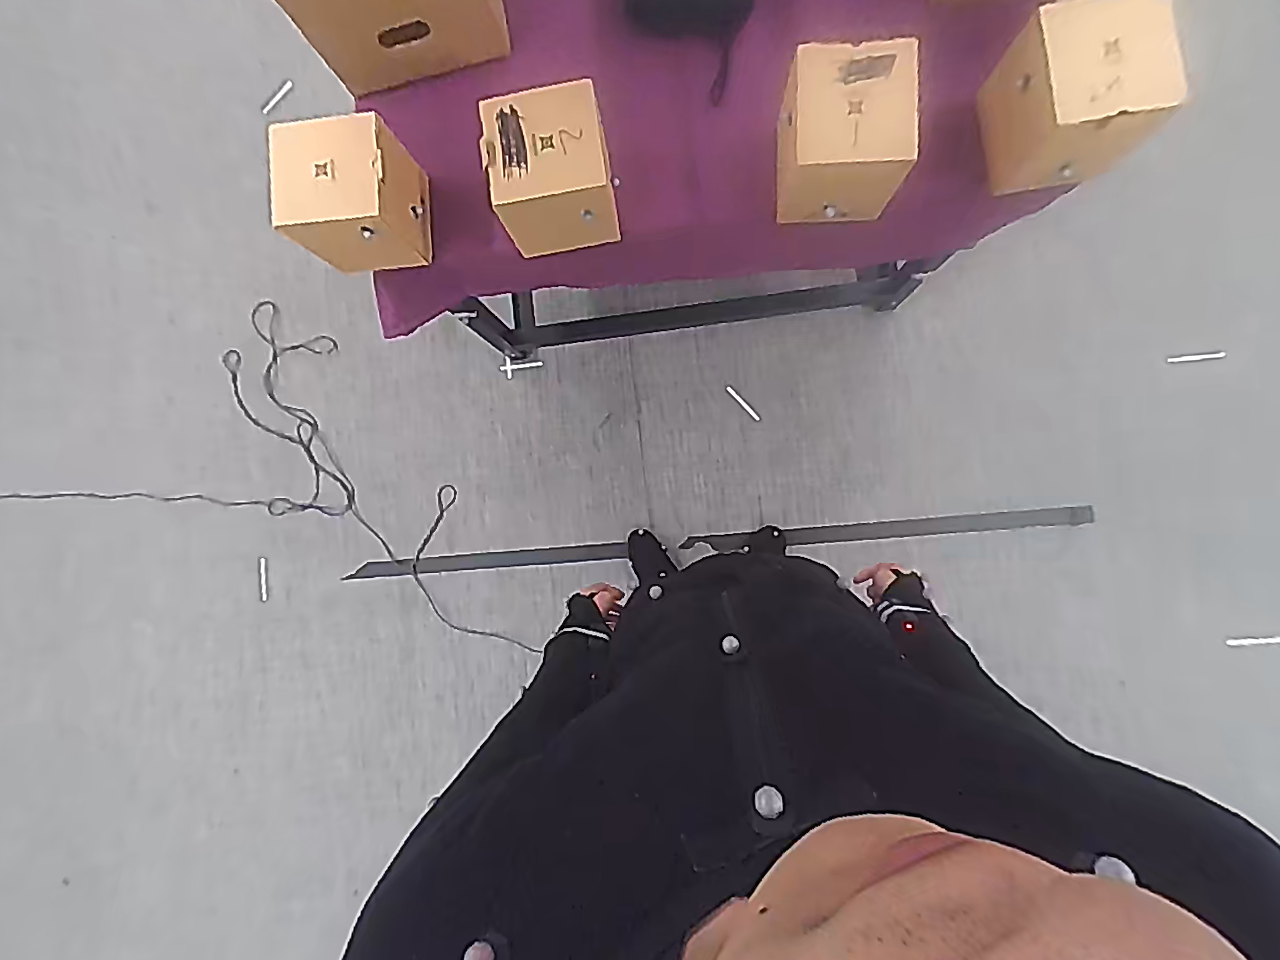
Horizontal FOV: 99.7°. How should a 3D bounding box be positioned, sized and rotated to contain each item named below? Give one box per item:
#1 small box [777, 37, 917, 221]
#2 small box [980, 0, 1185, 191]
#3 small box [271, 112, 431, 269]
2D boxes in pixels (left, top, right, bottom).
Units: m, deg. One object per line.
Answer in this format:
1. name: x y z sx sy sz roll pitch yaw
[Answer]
1. small box: 0.308 -0.528 0.833 0.168 0.176 0.179 0 89 5
2. small box: 0.636 -0.569 0.803 0.168 0.176 0.179 -7 87 6
3. small box: -0.472 -0.468 0.901 0.179 0.176 0.168 -4 87 4
